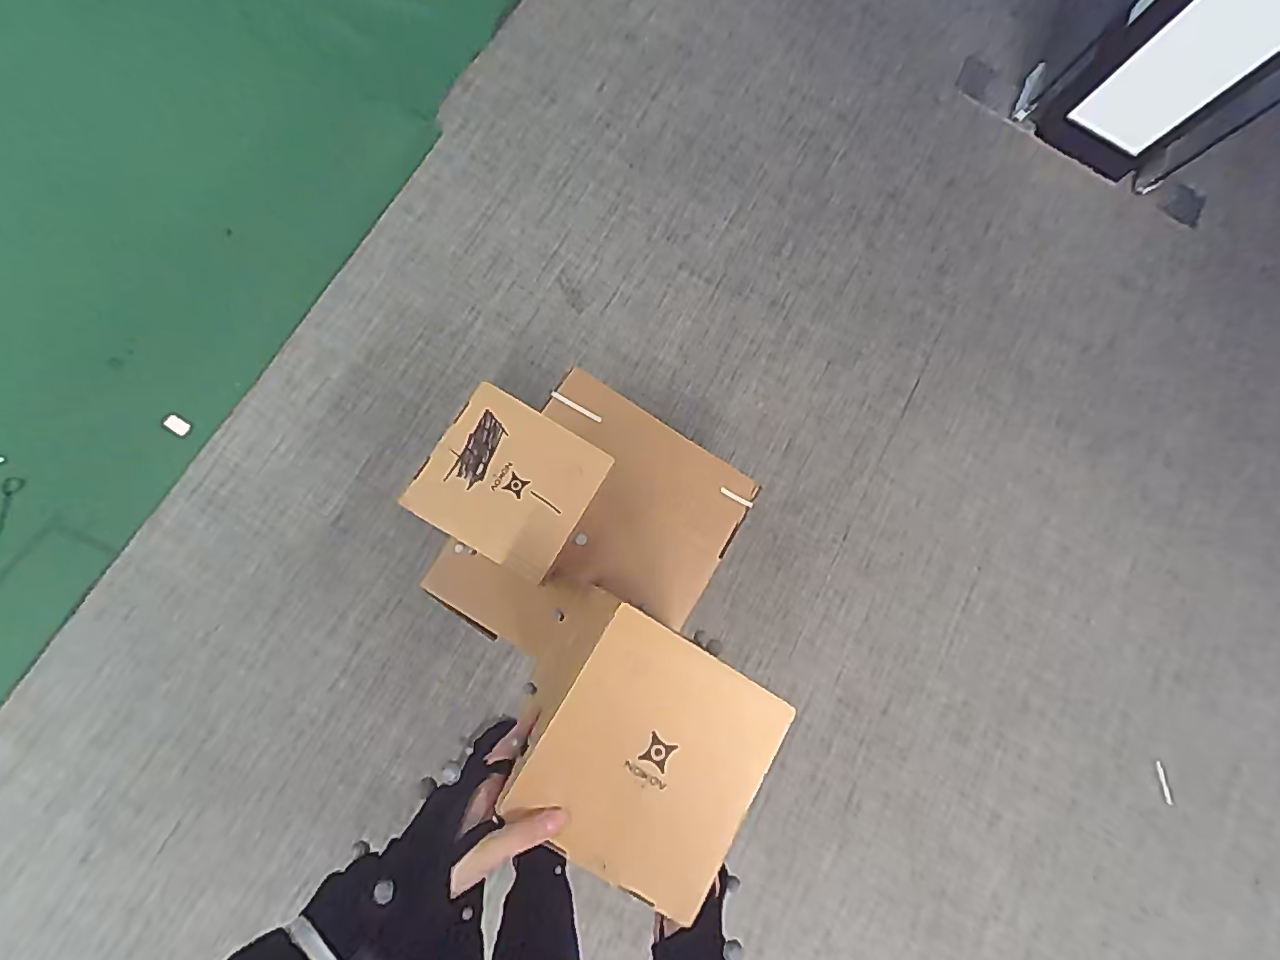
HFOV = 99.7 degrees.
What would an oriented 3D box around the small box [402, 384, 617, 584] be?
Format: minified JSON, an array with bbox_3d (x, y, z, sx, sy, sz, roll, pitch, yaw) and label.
[{"bbox_3d":[-0.148,0.018,0.662,0.179,0.176,0.168,30,77,-1],"label":"small box"}]

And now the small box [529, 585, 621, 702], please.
[{"bbox_3d":[-0.045,0.266,0.803,0.179,0.176,0.168,30,76,-2],"label":"small box"}]

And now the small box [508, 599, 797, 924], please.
[{"bbox_3d":[0.003,0.221,0.484,0.168,0.176,0.179,32,78,-2],"label":"small box"}]
